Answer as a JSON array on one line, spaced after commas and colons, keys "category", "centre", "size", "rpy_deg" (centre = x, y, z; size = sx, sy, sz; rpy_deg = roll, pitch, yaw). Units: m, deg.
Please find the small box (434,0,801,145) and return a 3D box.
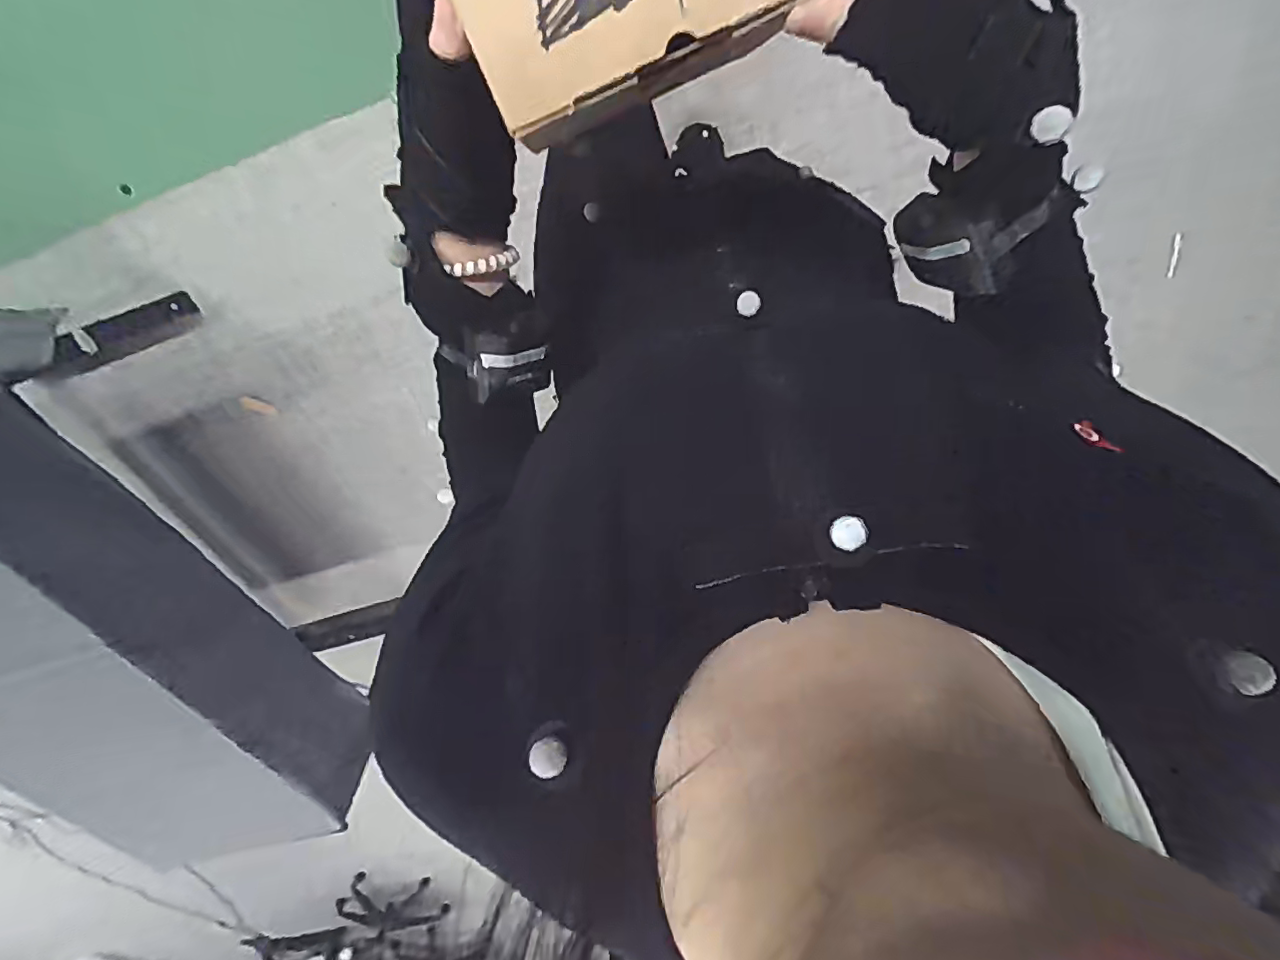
[{"category": "small box", "centre": [-0.030, -0.292, 0.270], "size": [0.168, 0.176, 0.179], "rpy_deg": [-23, 118, 5]}]
